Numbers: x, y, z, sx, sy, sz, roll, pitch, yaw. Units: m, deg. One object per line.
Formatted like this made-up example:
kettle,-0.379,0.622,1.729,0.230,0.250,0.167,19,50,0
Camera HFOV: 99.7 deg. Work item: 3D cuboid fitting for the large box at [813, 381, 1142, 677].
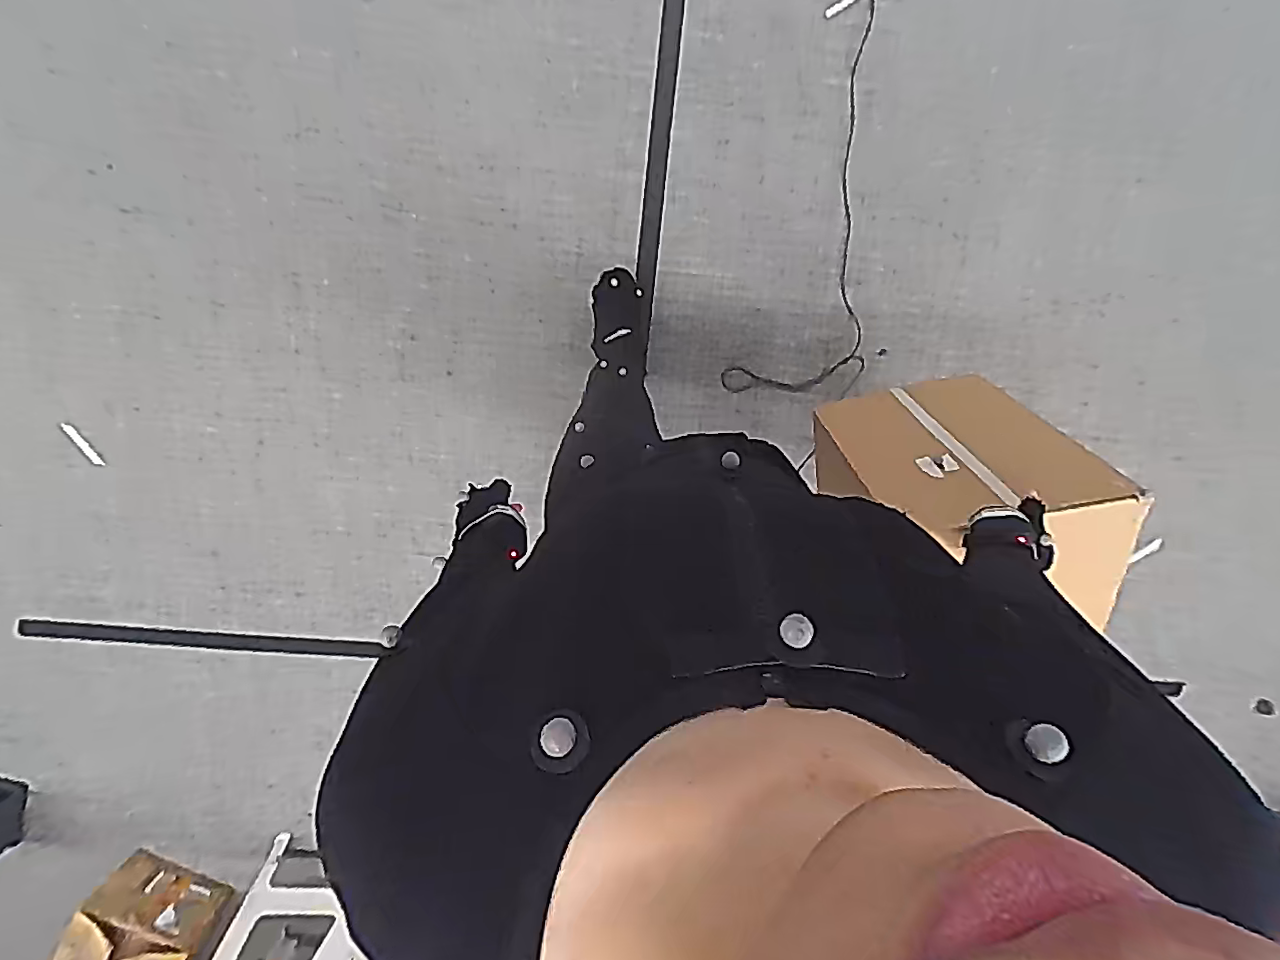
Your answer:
large box,0.525,0.069,0.959,0.320,0.408,0.320,-12,123,5
